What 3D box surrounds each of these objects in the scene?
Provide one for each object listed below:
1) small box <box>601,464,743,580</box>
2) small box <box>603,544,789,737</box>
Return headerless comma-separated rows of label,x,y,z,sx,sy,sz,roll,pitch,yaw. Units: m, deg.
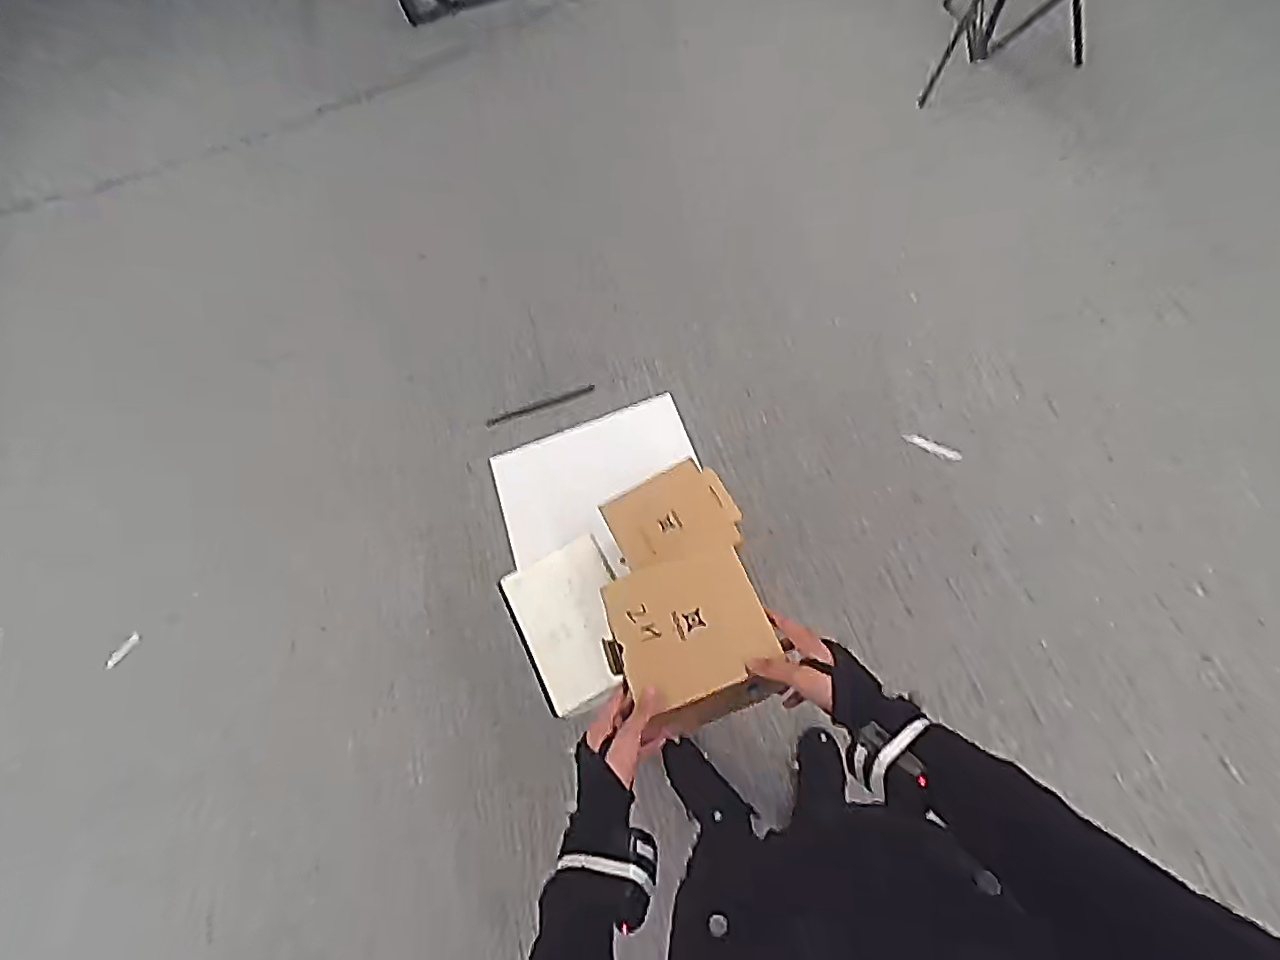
small box,0.058,0.105,0.920,0.179,0.176,0.168,-29,66,-2
small box,0.075,0.212,0.693,0.179,0.176,0.168,-23,57,3
